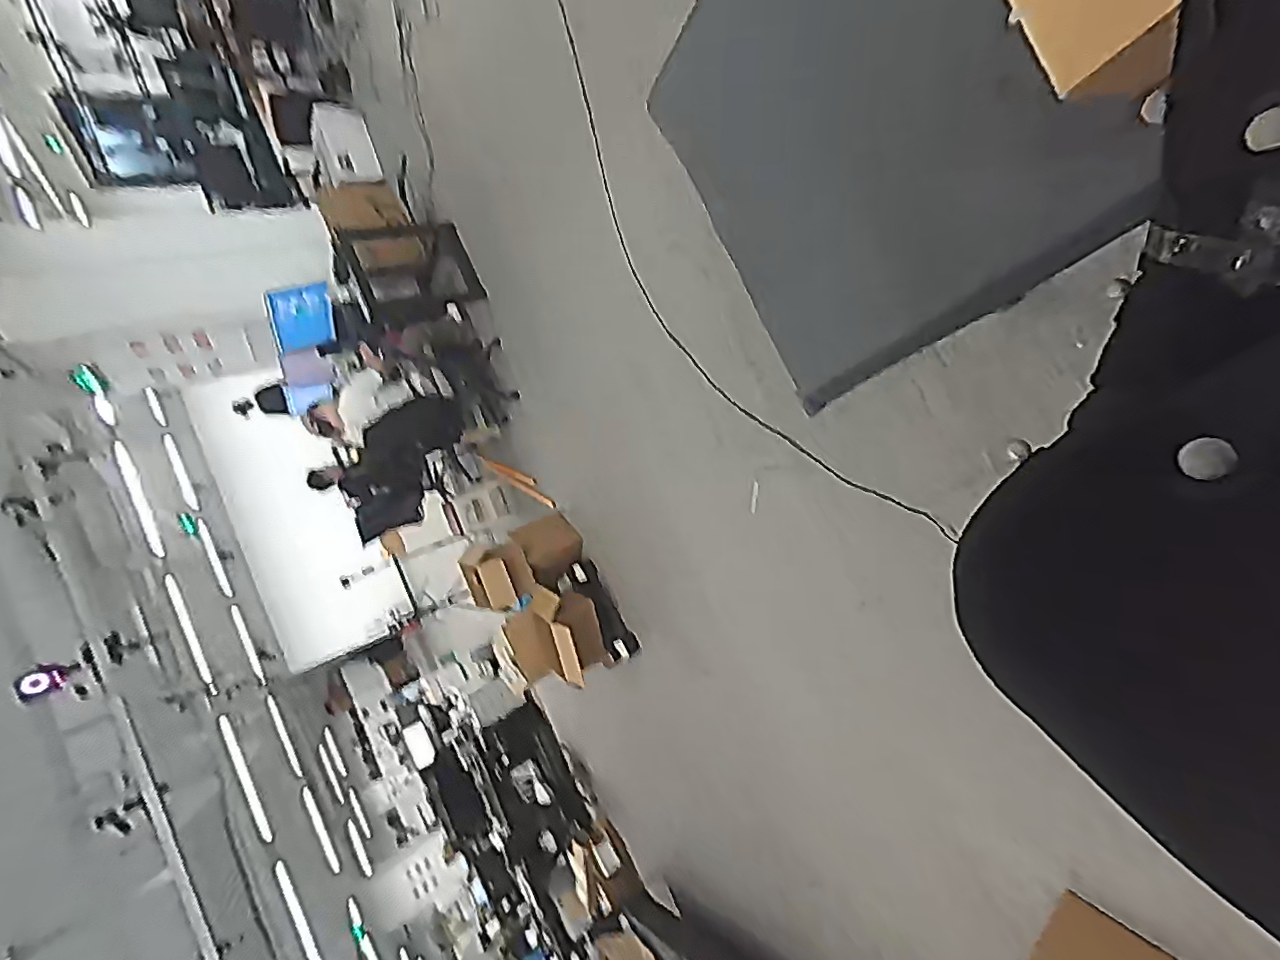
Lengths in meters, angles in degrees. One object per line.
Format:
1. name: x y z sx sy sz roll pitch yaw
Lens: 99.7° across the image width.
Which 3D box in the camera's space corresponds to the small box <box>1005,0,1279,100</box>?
1. small box: 0.399 -0.422 0.407 0.168 0.176 0.179 -33 81 59
